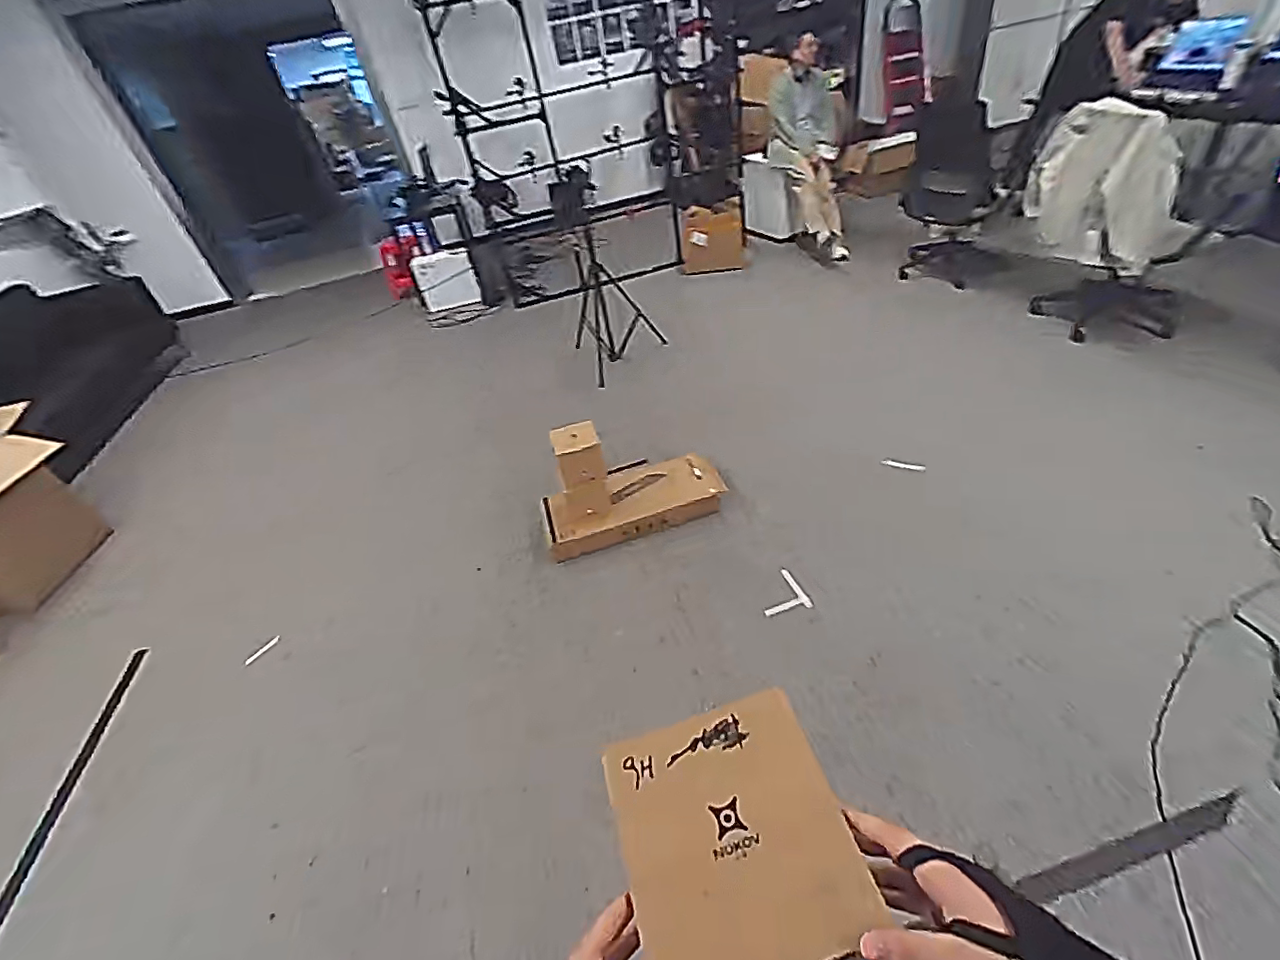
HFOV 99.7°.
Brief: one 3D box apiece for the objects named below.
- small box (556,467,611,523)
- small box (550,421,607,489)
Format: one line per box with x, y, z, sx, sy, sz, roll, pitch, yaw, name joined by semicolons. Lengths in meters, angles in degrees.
-0.224;0.041;2.155;0.168;0.176;0.179;-18;40;-8;small box
-0.235;-0.095;2.060;0.168;0.176;0.179;-17;39;-6;small box
